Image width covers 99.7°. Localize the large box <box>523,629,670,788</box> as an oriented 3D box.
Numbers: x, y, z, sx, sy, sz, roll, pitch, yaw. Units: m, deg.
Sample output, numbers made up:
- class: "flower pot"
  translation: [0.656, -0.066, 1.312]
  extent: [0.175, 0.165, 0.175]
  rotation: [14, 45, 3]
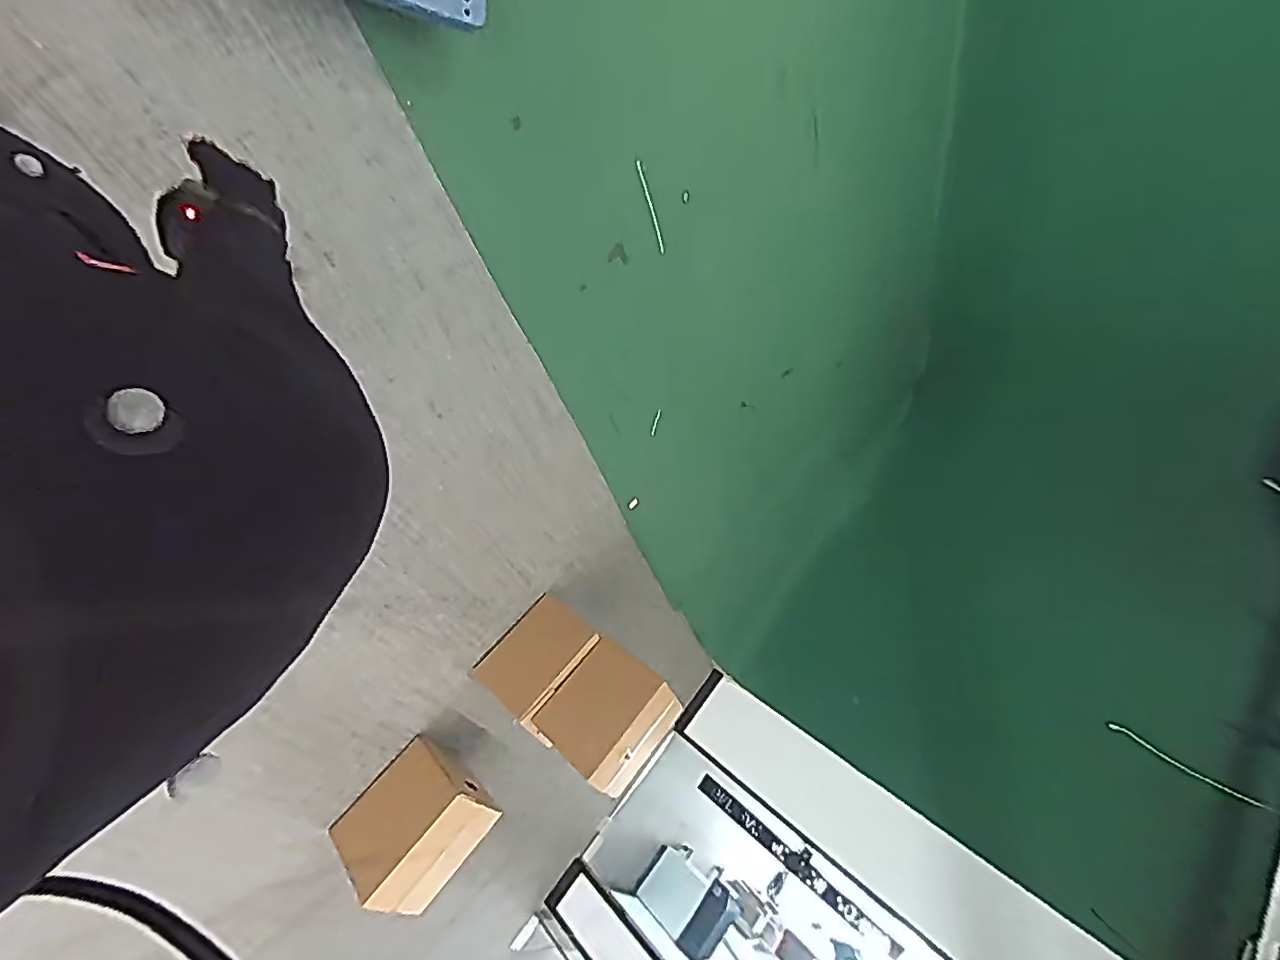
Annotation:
- class: "large box"
  translation: [-0.152, 0.840, 2.010]
  extent: [0.408, 0.320, 0.320]
  rotation: [-46, 143, -20]
